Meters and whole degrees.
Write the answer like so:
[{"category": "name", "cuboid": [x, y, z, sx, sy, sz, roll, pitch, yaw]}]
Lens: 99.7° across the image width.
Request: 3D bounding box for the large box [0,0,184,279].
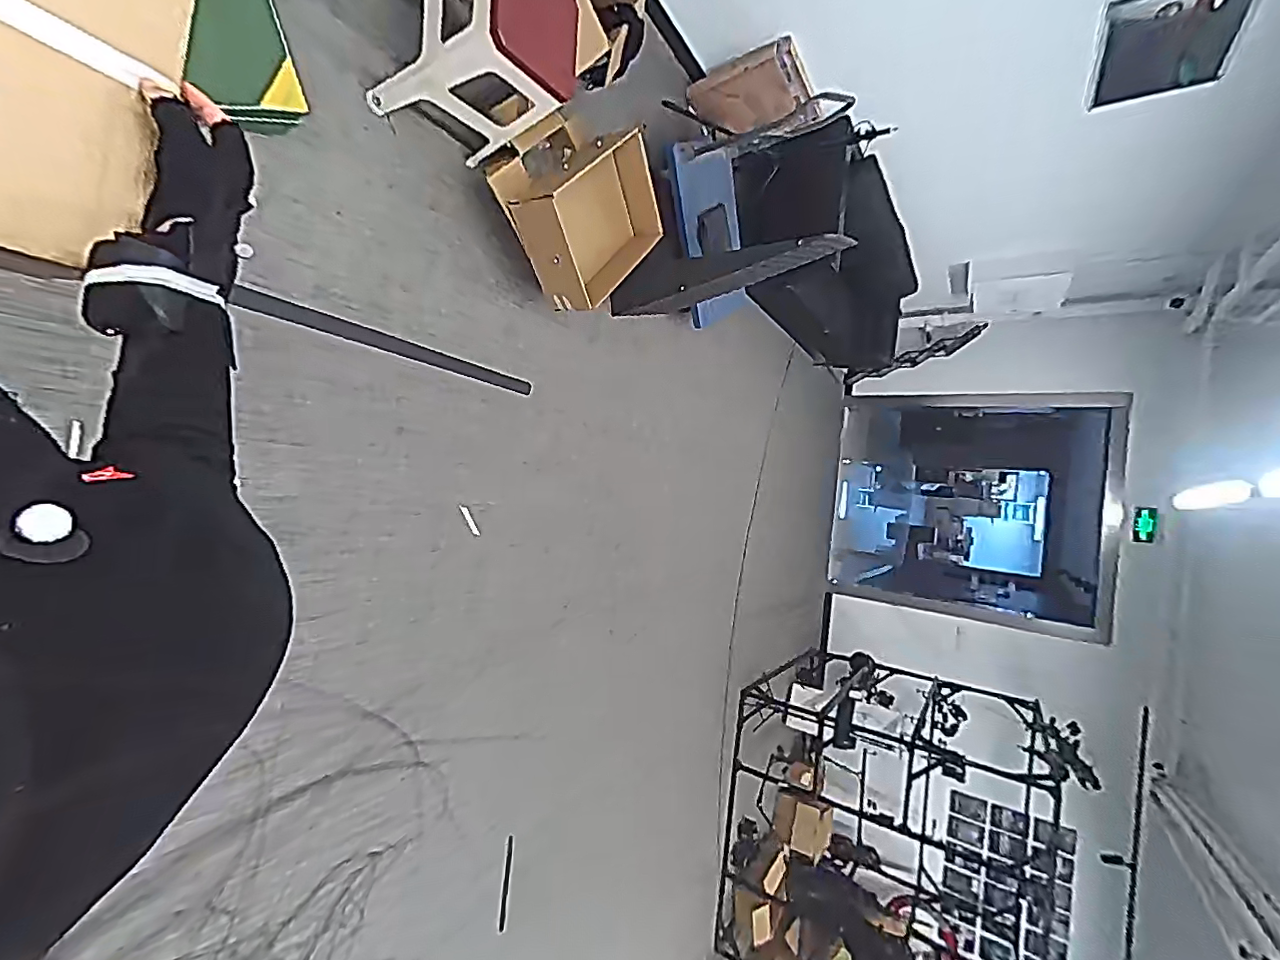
[{"category": "large box", "cuboid": [-0.622, -0.358, 0.356, 0.408, 0.320, 0.320, 6, 98, -61]}]
